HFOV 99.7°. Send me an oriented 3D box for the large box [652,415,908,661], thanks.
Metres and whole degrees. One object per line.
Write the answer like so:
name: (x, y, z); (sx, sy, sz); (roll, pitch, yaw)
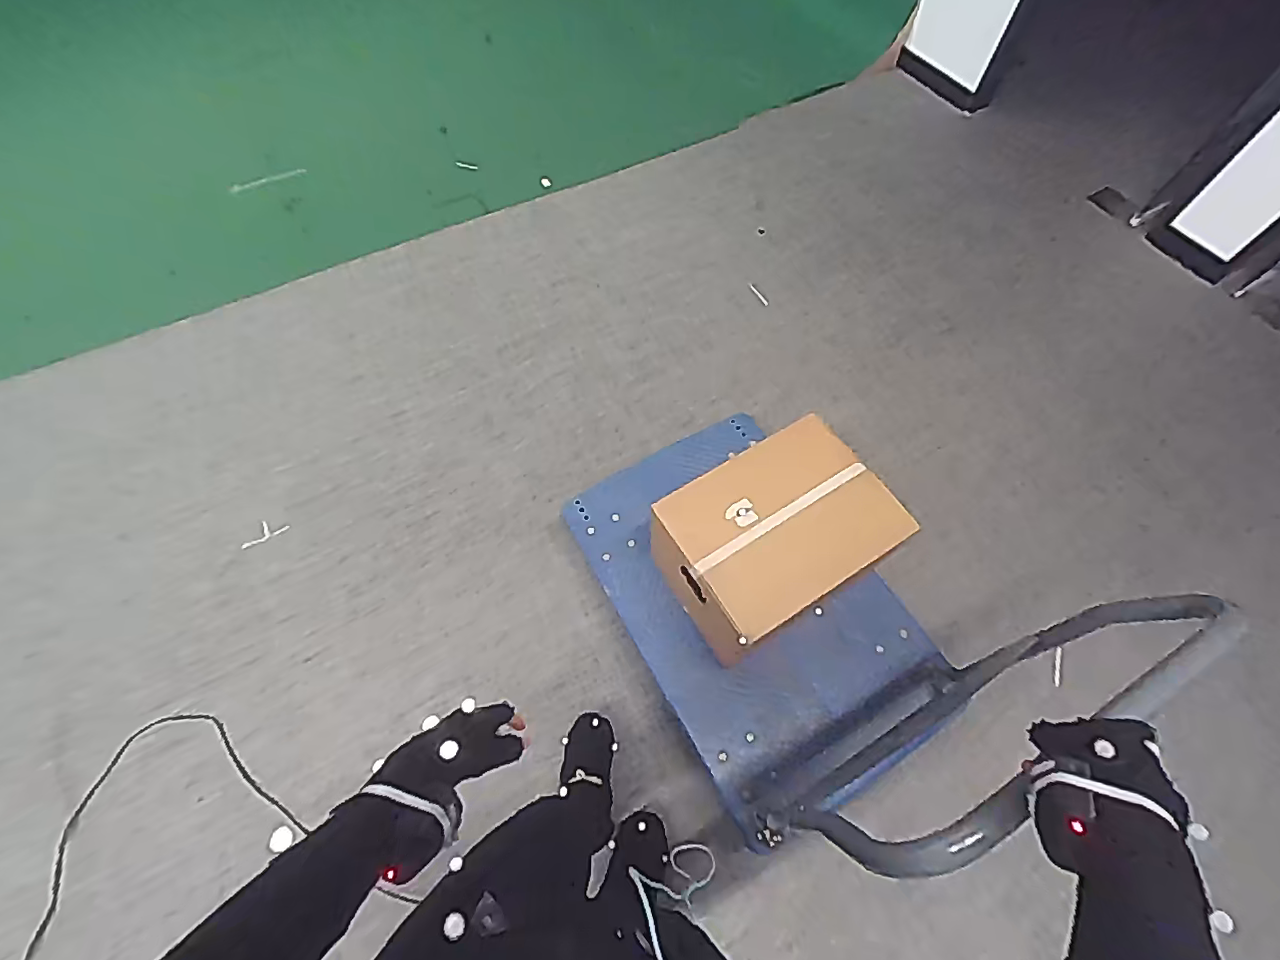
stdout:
large box: (0.272, 0.136, 1.172); (0.408, 0.320, 0.320); (-30, 66, -12)
